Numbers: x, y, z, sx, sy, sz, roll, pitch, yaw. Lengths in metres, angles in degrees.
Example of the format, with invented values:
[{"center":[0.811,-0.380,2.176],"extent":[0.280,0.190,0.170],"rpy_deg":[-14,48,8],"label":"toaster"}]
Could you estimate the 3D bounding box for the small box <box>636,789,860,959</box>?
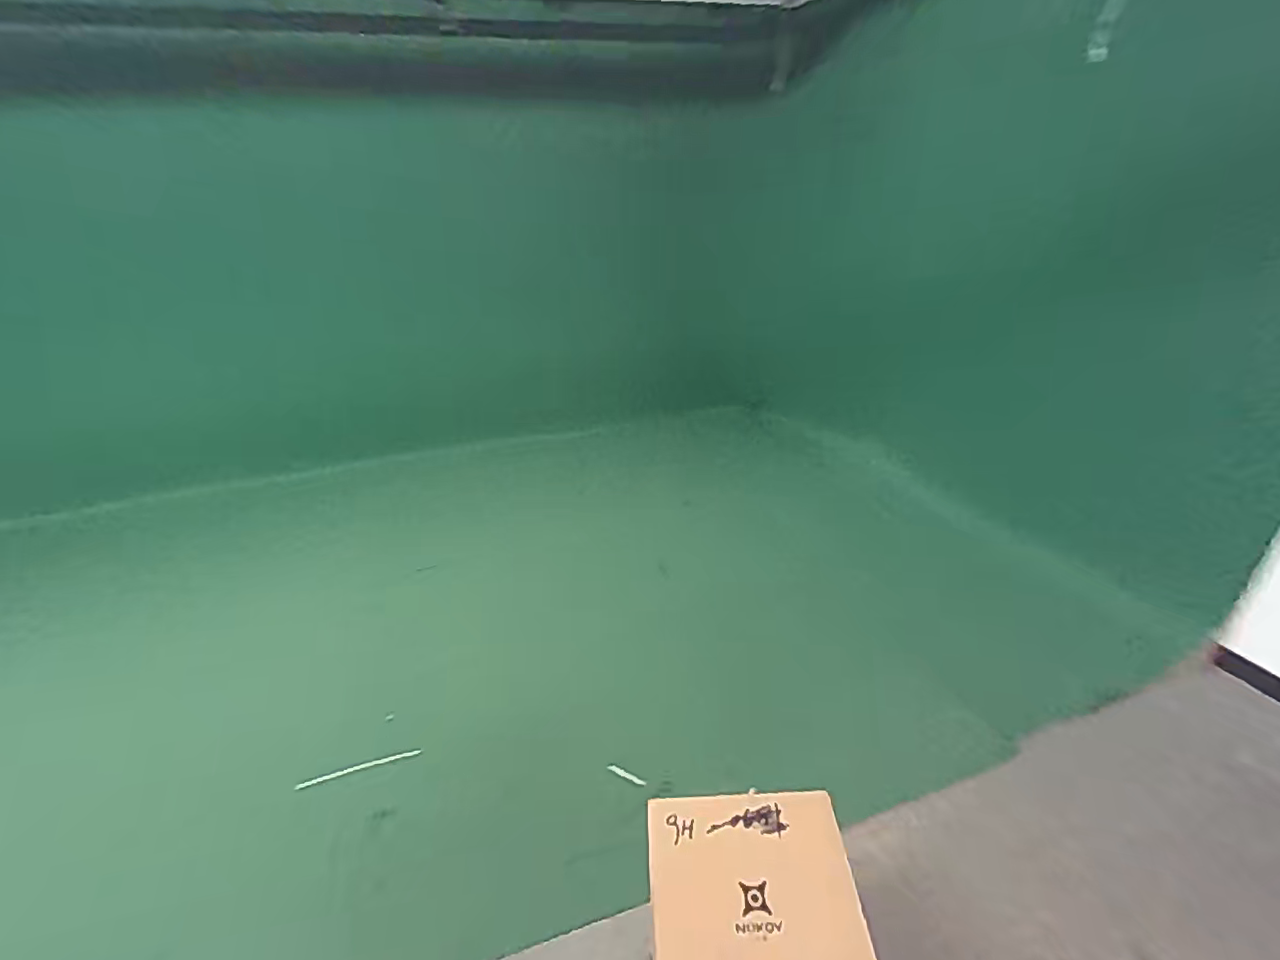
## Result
[{"center":[0.086,0.401,0.470],"extent":[0.168,0.176,0.179],"rpy_deg":[-4,37,1],"label":"small box"}]
